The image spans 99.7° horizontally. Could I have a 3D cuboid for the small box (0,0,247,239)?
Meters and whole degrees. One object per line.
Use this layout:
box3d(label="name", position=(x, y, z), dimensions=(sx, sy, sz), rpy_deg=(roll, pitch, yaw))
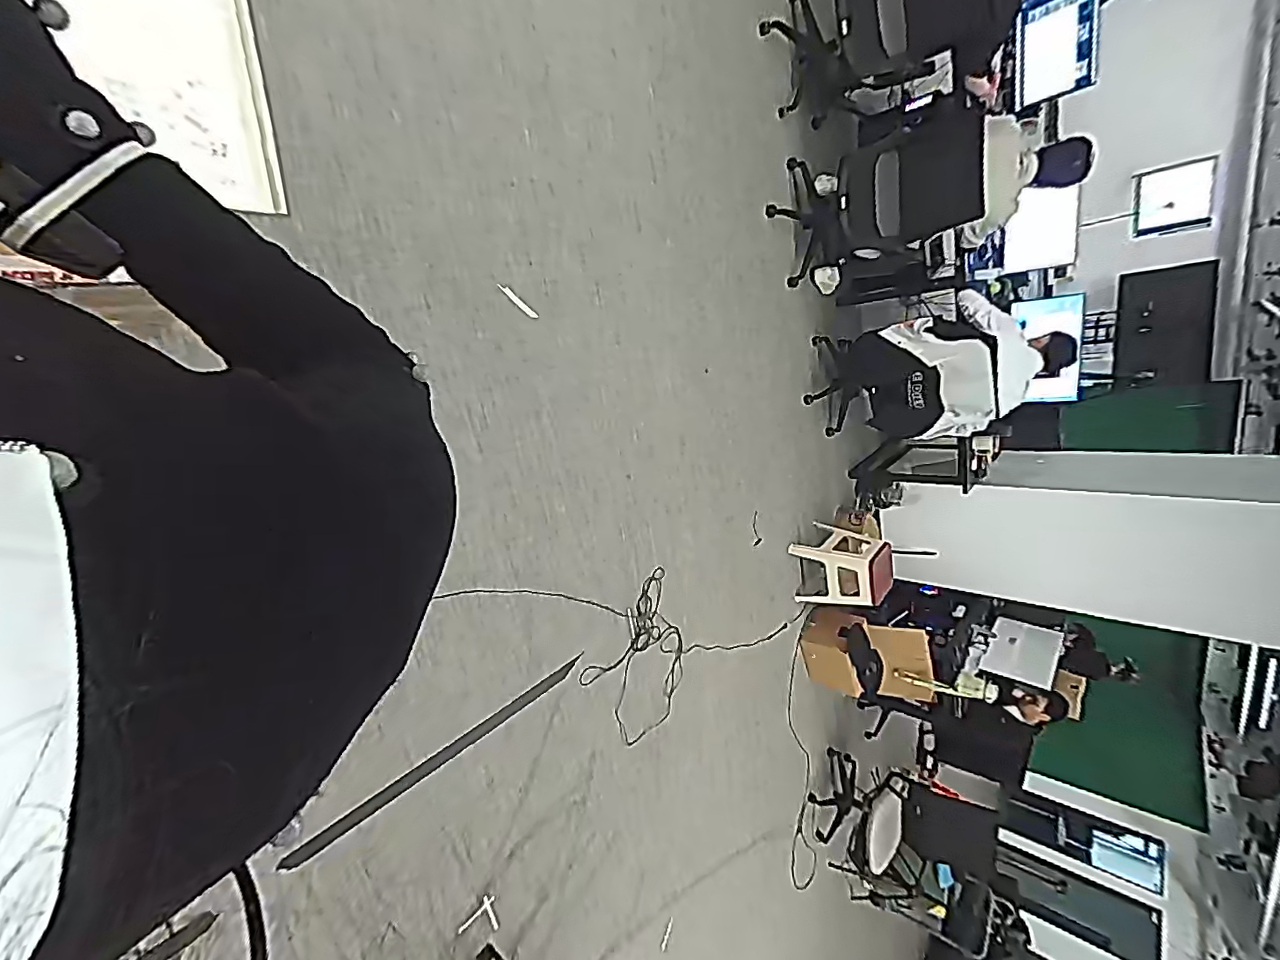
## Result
box3d(label="small box", position=(-0.559, -0.377, 0.580), dimensions=(0.168, 0.176, 0.179), rpy_deg=(-17, 108, -48))

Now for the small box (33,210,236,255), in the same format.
box3d(label="small box", position=(-0.671, -0.396, 0.701), dimensions=(0.179, 0.176, 0.168), rpy_deg=(-22, 110, -45))
